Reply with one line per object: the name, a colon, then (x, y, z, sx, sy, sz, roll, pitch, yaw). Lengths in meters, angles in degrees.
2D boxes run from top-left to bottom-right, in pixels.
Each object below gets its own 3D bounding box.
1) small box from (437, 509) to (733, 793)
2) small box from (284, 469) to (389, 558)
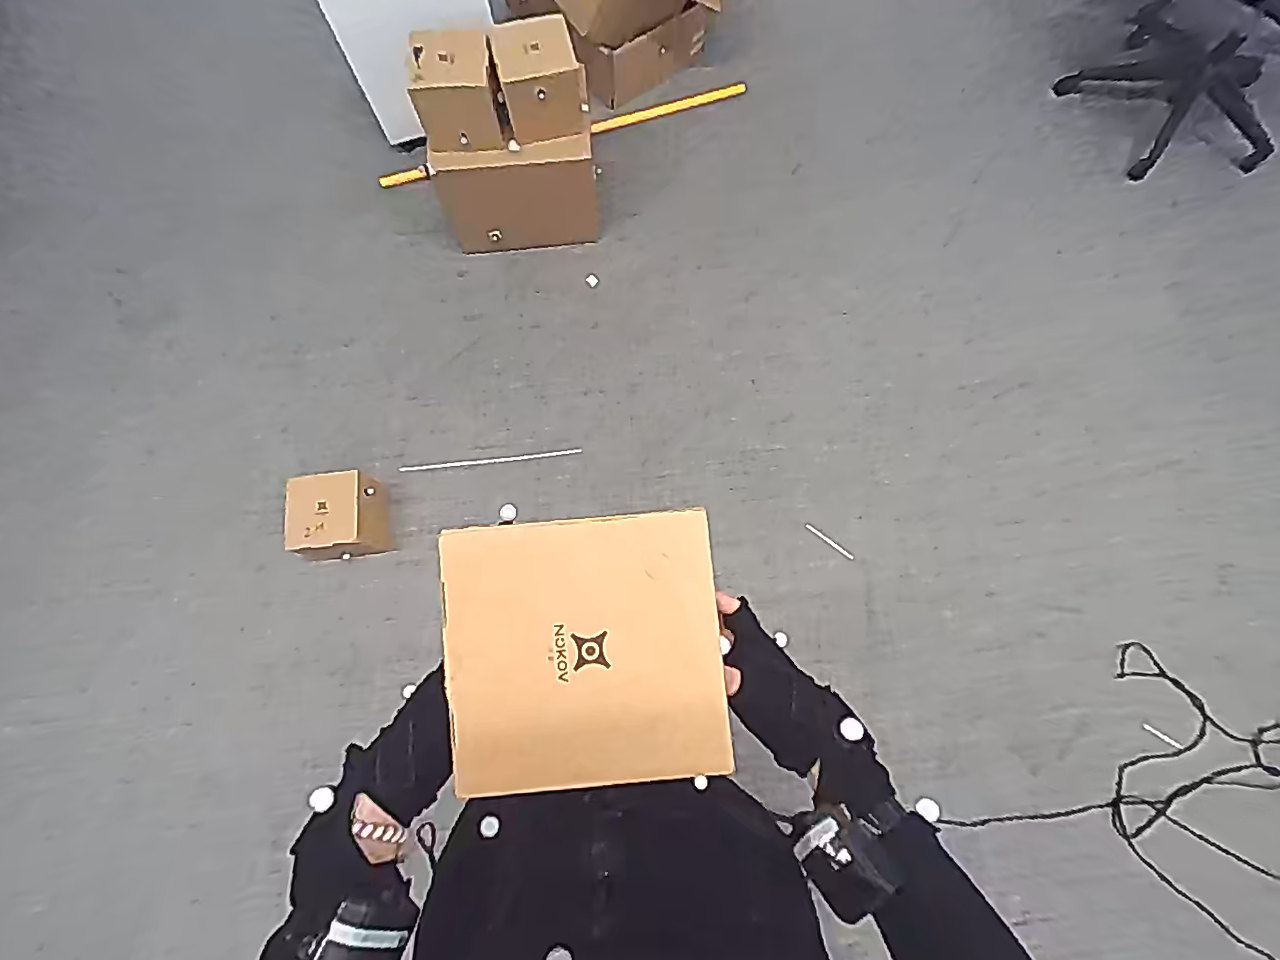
small box: (-0.035, 0.109, 0.415, 0.179, 0.176, 0.168, -5, 85, 1)
small box: (-0.730, 0.086, 1.317, 0.168, 0.176, 0.179, -7, 75, -2)
